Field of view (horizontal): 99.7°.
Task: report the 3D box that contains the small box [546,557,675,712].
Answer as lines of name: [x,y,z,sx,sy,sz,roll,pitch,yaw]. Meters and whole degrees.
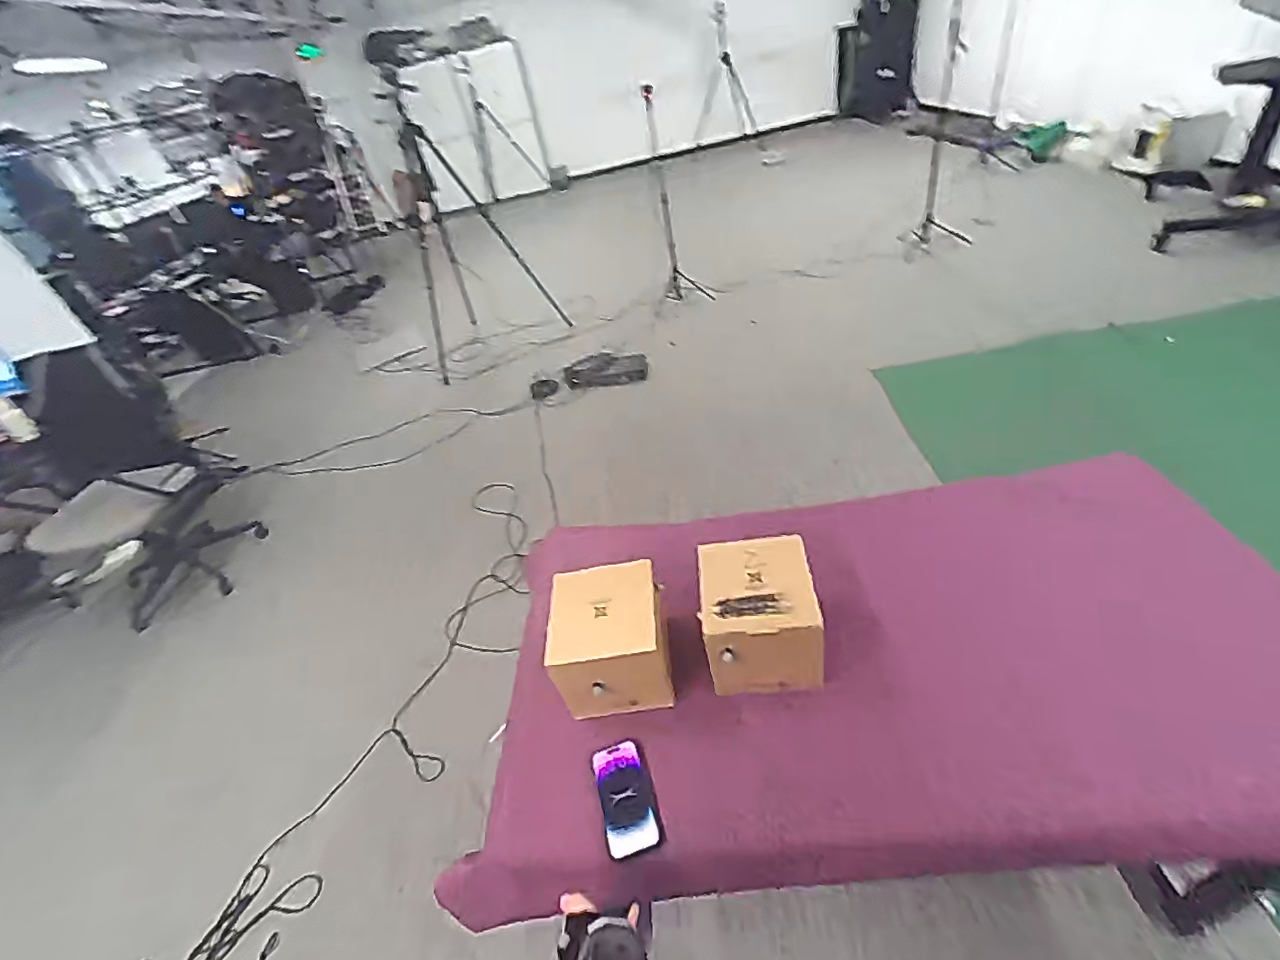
small box: [-0.041,0.256,0.876,0.168,0.176,0.179,-11,38,6]
